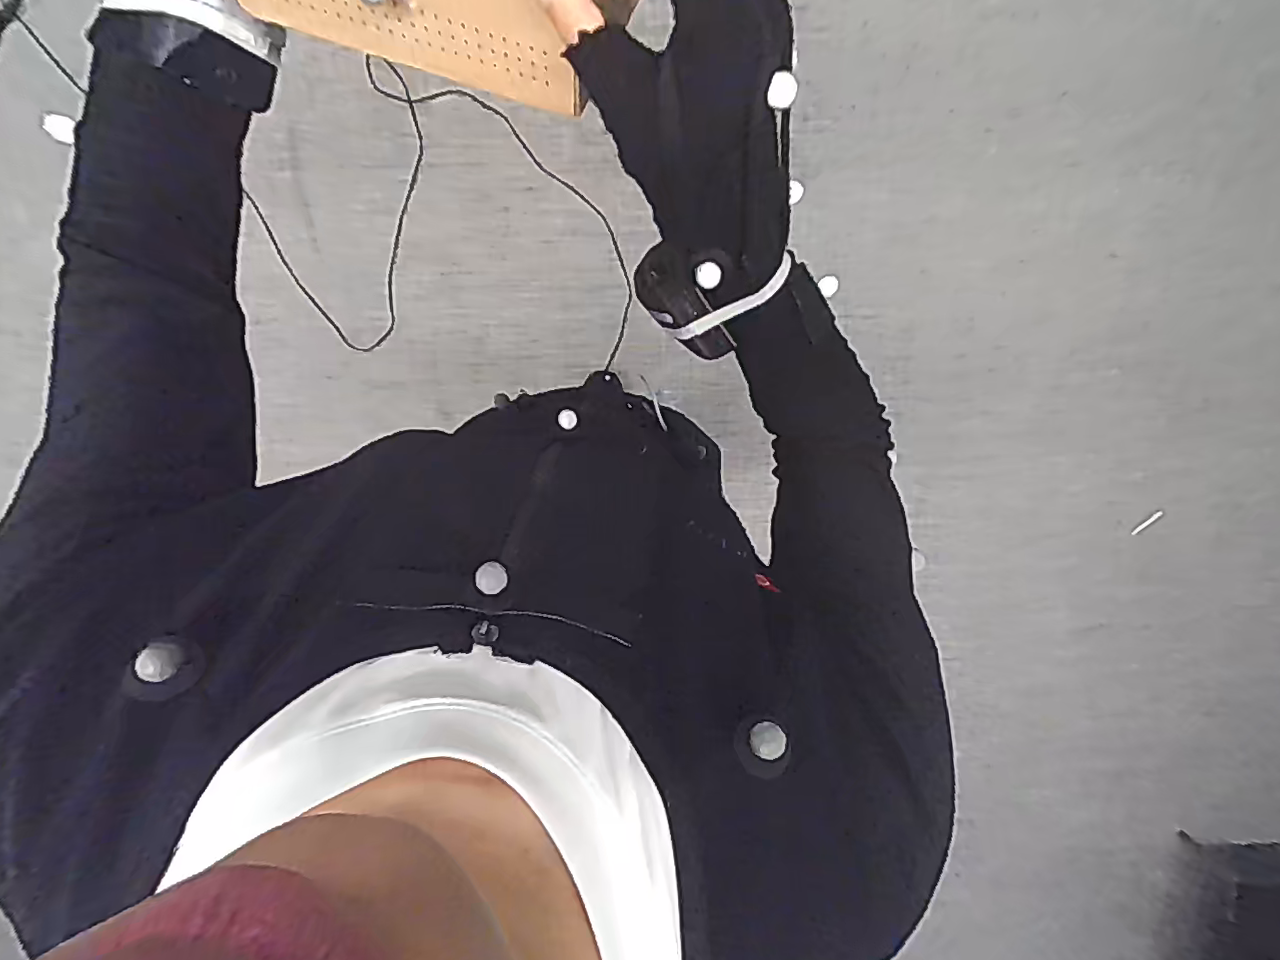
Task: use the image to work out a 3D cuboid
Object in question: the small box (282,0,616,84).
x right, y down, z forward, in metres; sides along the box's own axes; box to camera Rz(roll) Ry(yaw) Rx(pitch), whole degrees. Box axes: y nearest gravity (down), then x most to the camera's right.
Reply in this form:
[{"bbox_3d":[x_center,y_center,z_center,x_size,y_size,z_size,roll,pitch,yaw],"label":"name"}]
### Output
[{"bbox_3d":[-0.079,-0.310,0.221,0.179,0.176,0.168,18,68,0],"label":"small box"}]
